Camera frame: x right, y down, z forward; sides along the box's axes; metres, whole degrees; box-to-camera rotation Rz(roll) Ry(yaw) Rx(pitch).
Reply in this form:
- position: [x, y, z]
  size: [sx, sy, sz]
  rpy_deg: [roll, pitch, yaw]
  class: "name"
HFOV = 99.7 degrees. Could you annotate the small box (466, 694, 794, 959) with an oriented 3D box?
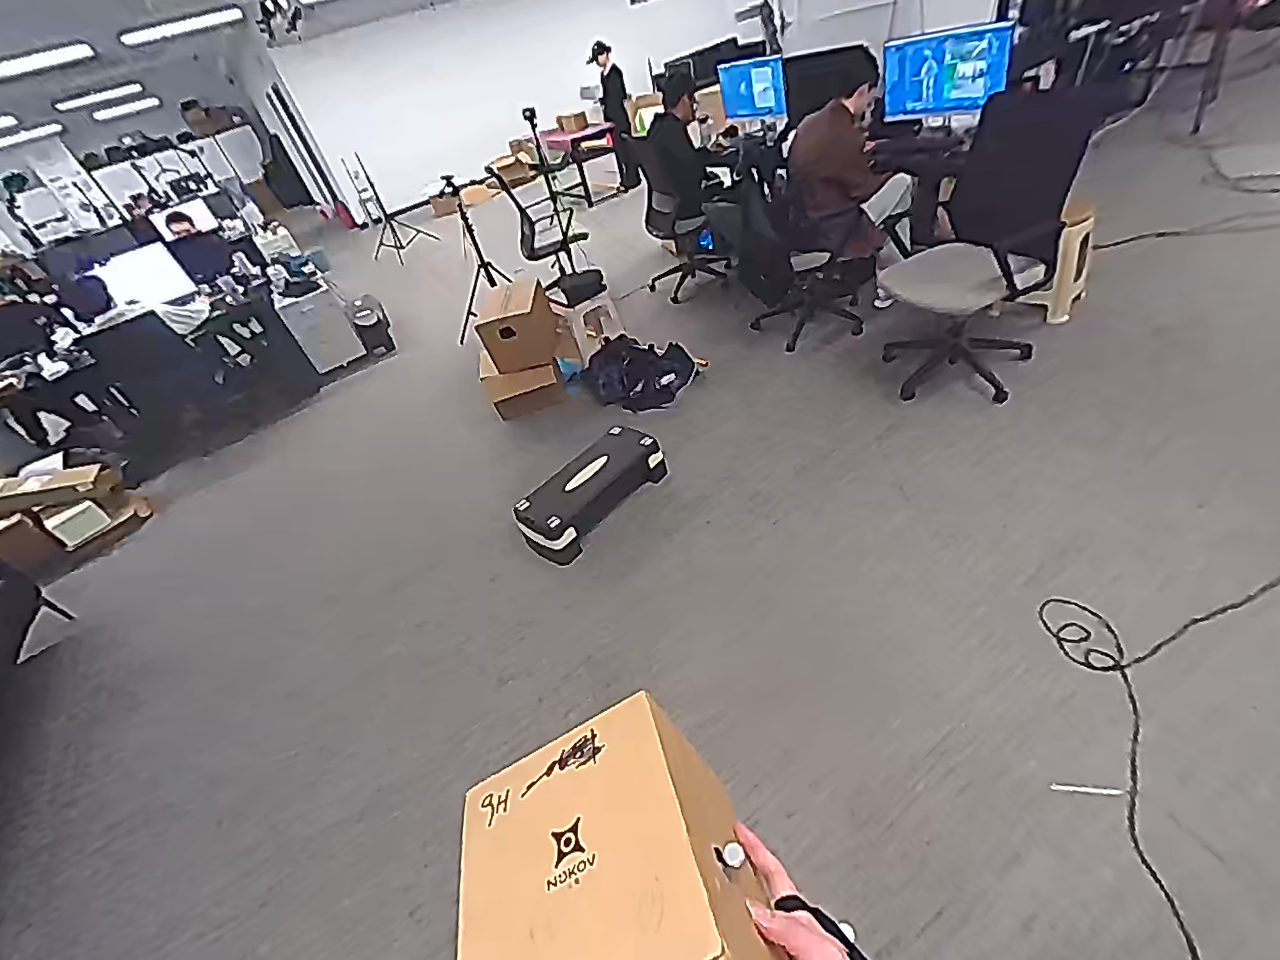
- position: [-0.007, 0.304, 0.396]
  size: [0.168, 0.176, 0.179]
  rpy_deg: [-30, 33, 1]
  class: "small box"
